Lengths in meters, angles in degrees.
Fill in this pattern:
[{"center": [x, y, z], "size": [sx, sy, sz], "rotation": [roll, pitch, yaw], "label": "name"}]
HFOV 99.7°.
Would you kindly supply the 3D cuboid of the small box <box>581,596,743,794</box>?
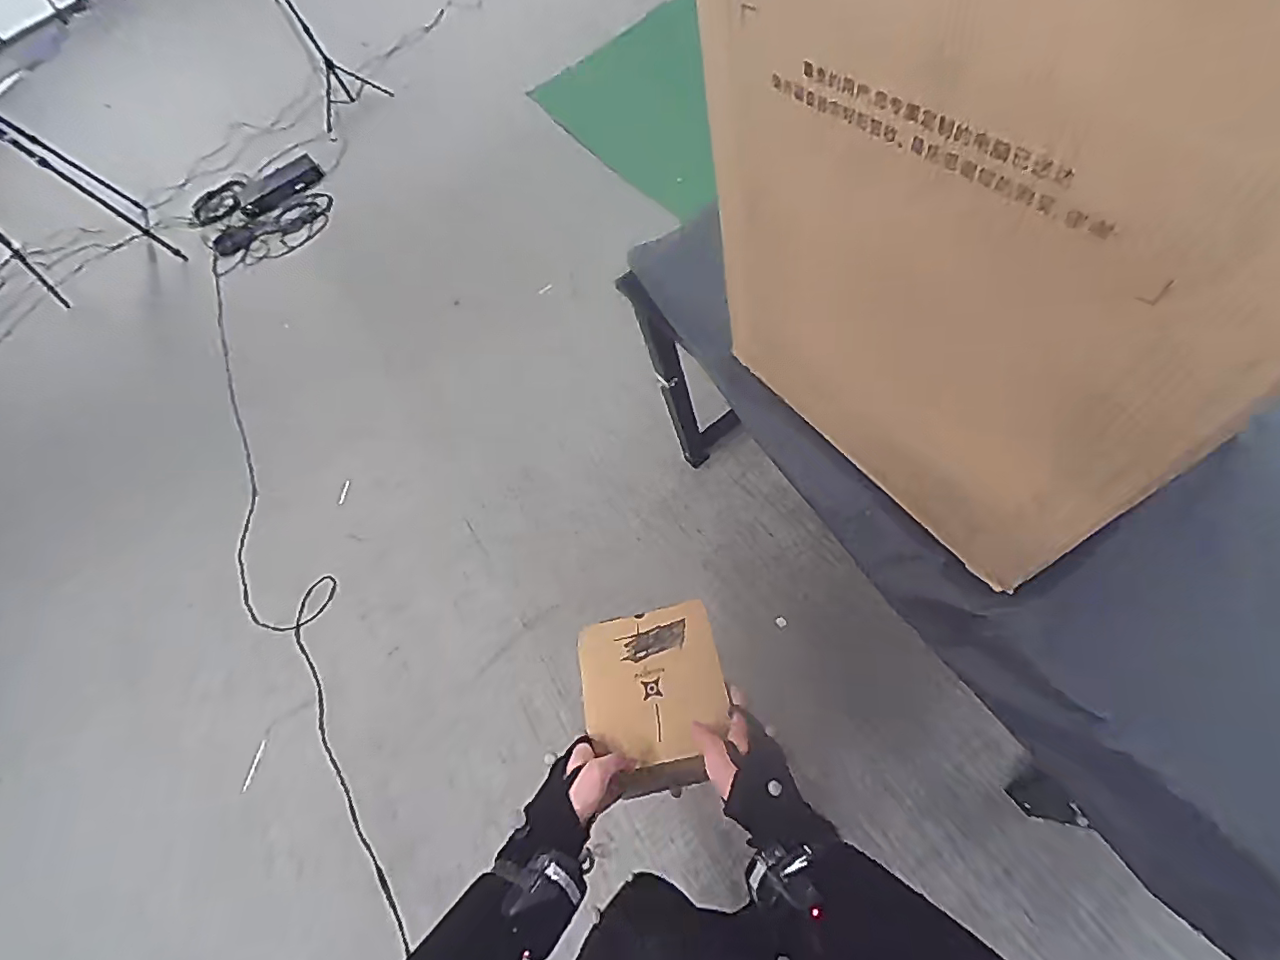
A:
[{"center": [0.030, 0.279, 0.693], "size": [0.168, 0.176, 0.179], "rotation": [-14, 51, 2], "label": "small box"}]
